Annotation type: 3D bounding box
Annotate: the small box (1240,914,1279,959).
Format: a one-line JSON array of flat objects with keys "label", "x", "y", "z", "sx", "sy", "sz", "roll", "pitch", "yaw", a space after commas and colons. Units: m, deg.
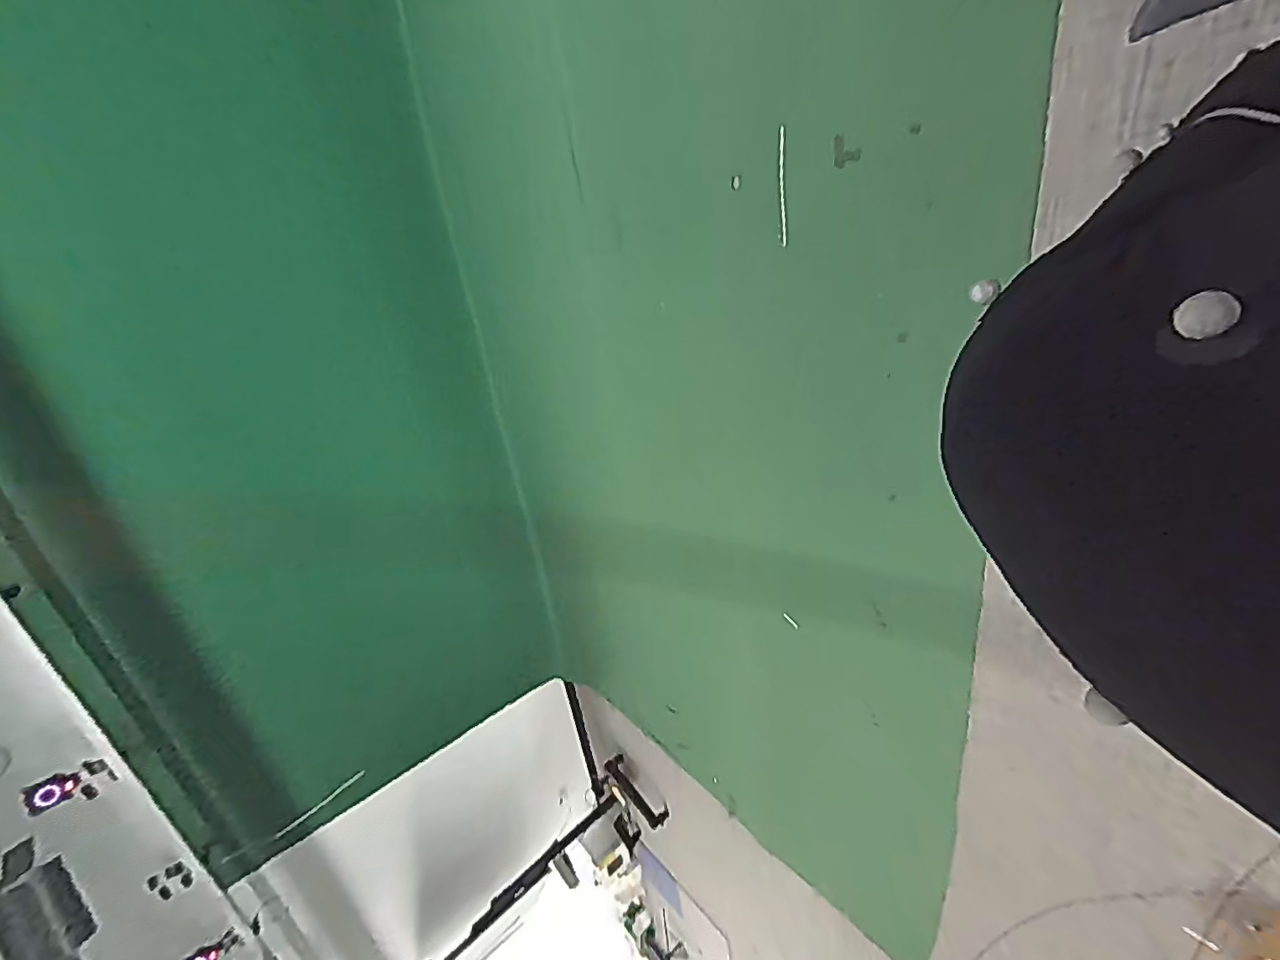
[{"label": "small box", "x": 1.520, "y": 1.143, "z": 1.221, "sx": 0.179, "sy": 0.176, "sz": 0.168, "roll": 35, "pitch": 136, "yaw": 40}]
